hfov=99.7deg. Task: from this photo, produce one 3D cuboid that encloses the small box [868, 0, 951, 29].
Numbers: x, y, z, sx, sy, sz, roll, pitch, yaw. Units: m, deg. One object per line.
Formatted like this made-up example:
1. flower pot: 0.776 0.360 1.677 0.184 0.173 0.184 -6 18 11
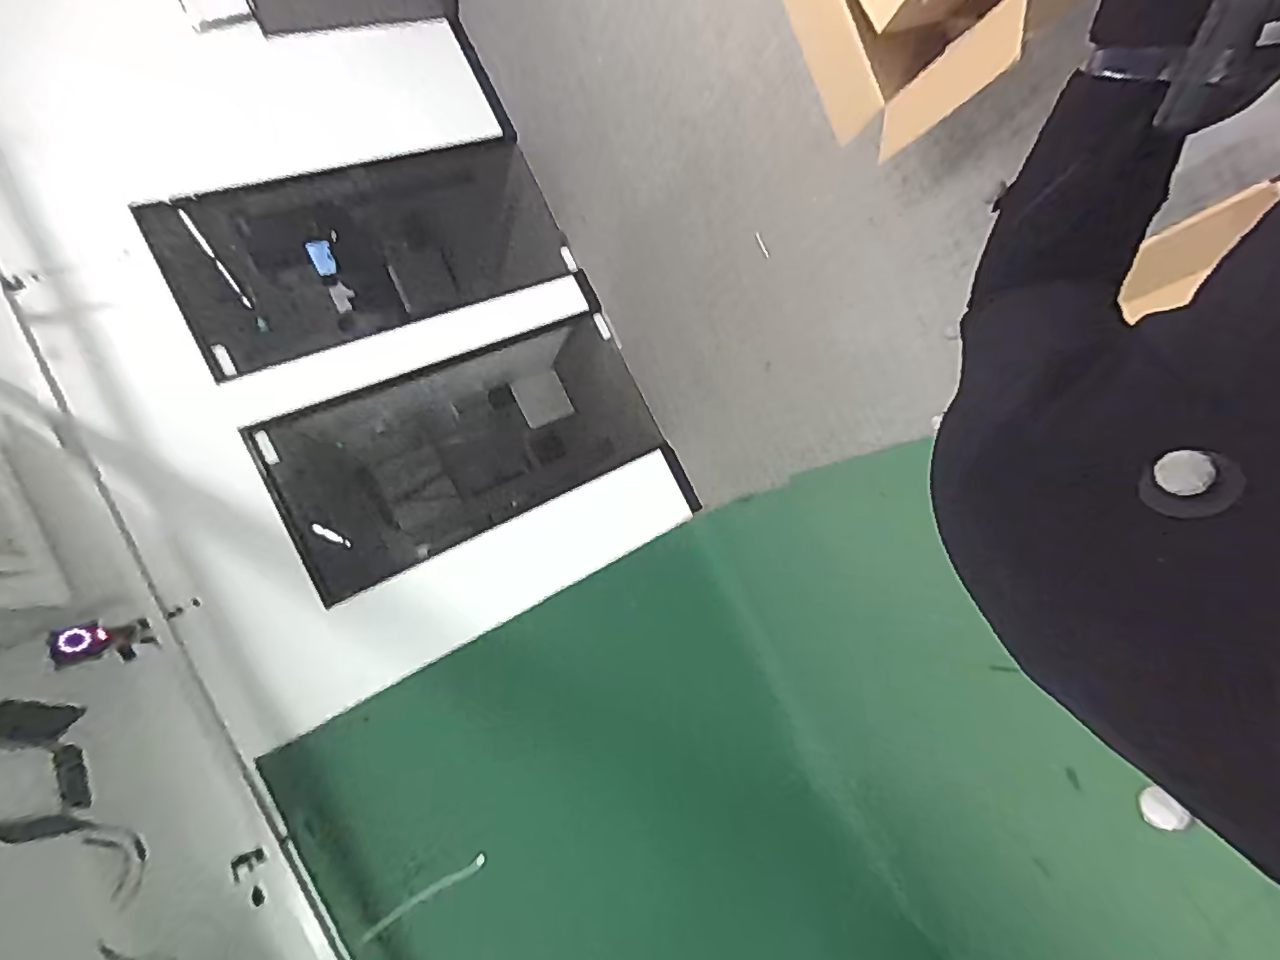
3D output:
1. small box: 0.541 -1.011 1.021 0.168 0.176 0.179 61 159 0
